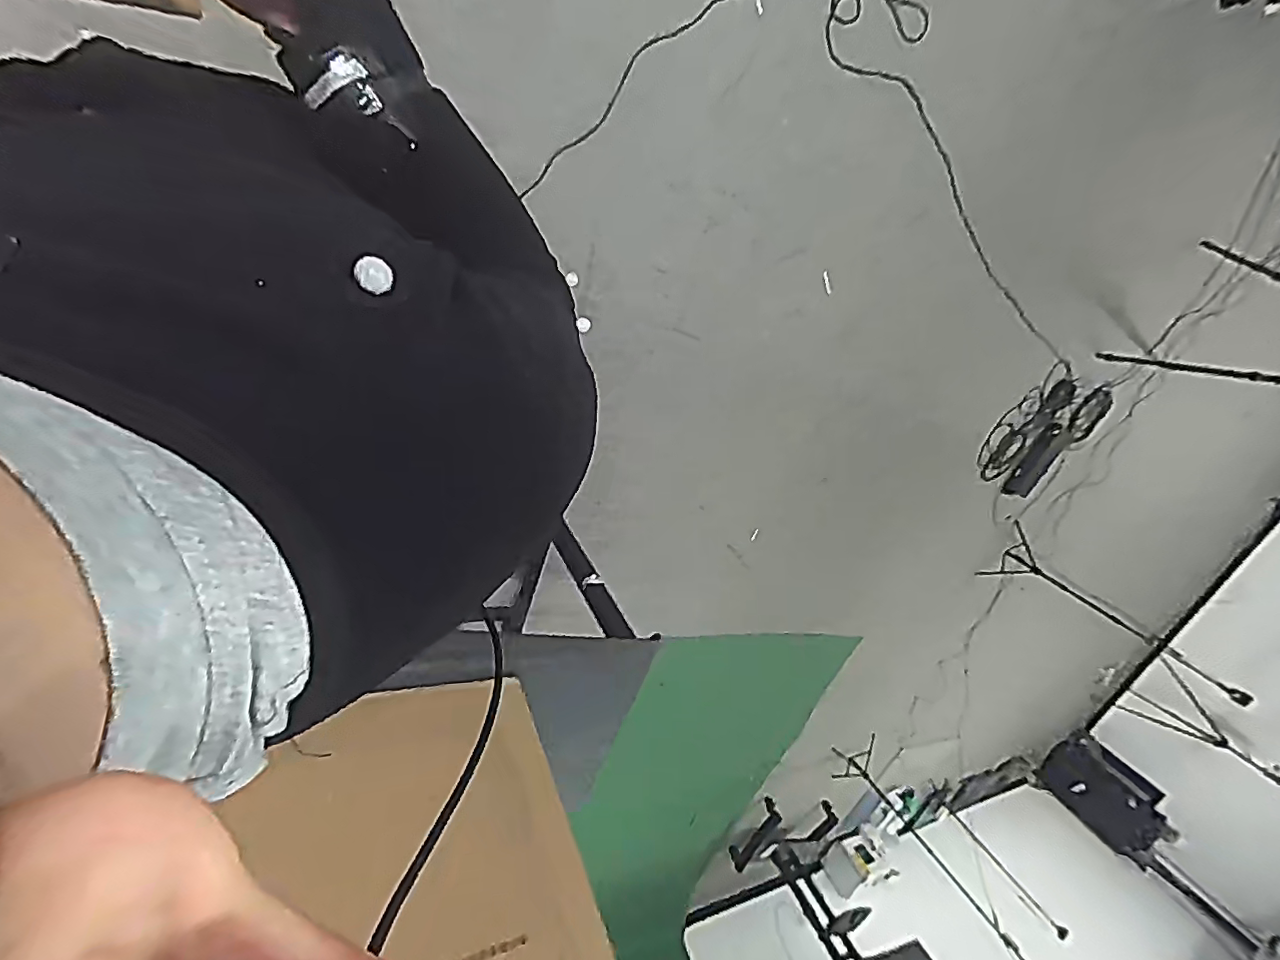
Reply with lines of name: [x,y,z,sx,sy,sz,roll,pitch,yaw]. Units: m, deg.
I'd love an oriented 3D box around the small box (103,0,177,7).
small box: [-0.265,-0.268,0.153,0.168,0.176,0.179,-12,130,-27]
